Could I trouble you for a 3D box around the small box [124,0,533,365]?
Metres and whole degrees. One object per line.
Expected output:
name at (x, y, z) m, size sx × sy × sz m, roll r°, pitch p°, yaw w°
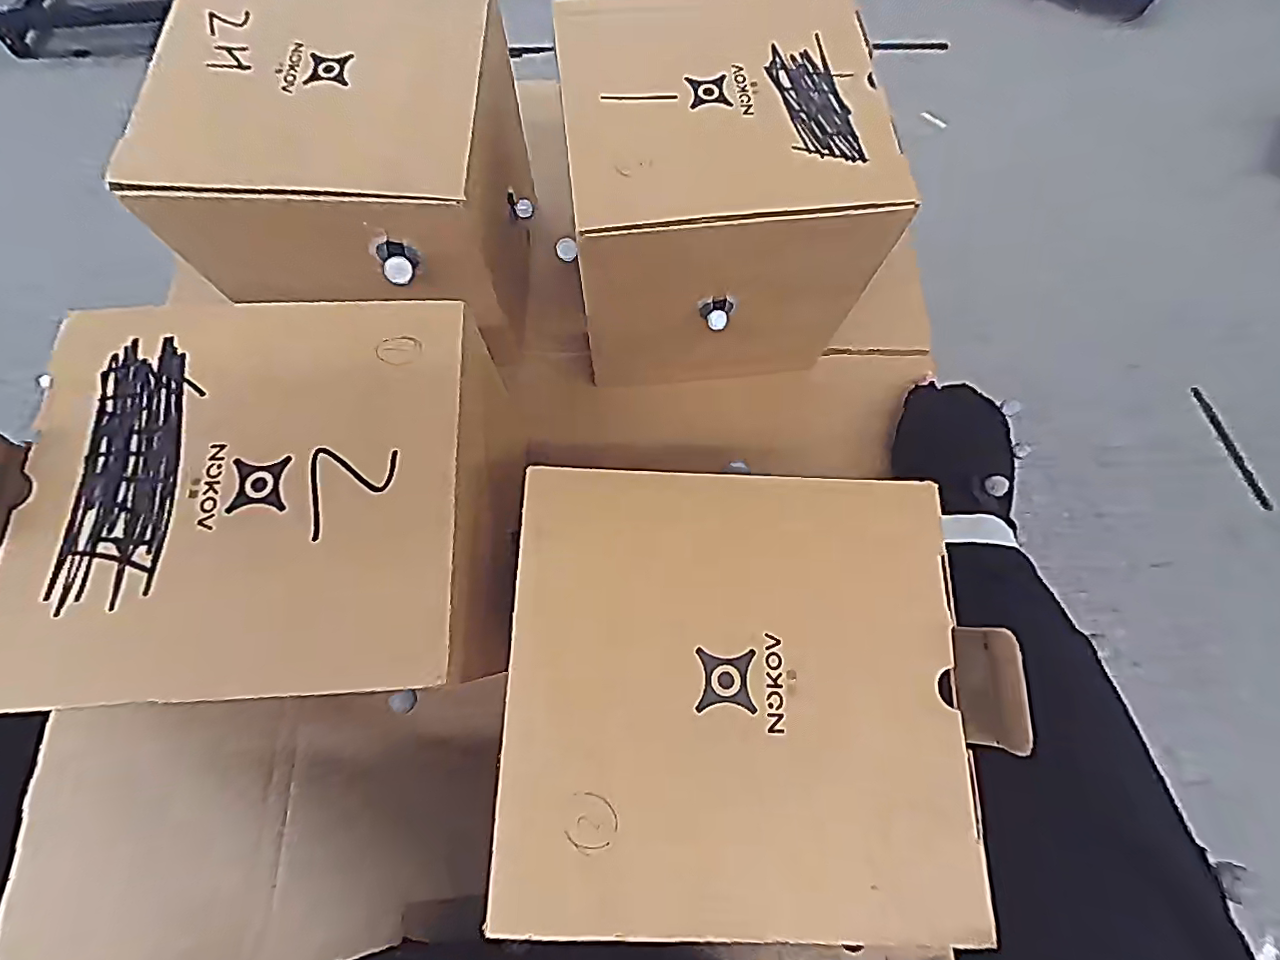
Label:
small box at (-0.176, -0.192, 0.374) m, size 0.179 × 0.176 × 0.168 m, roll 1°, pitch 73°, yaw -1°
